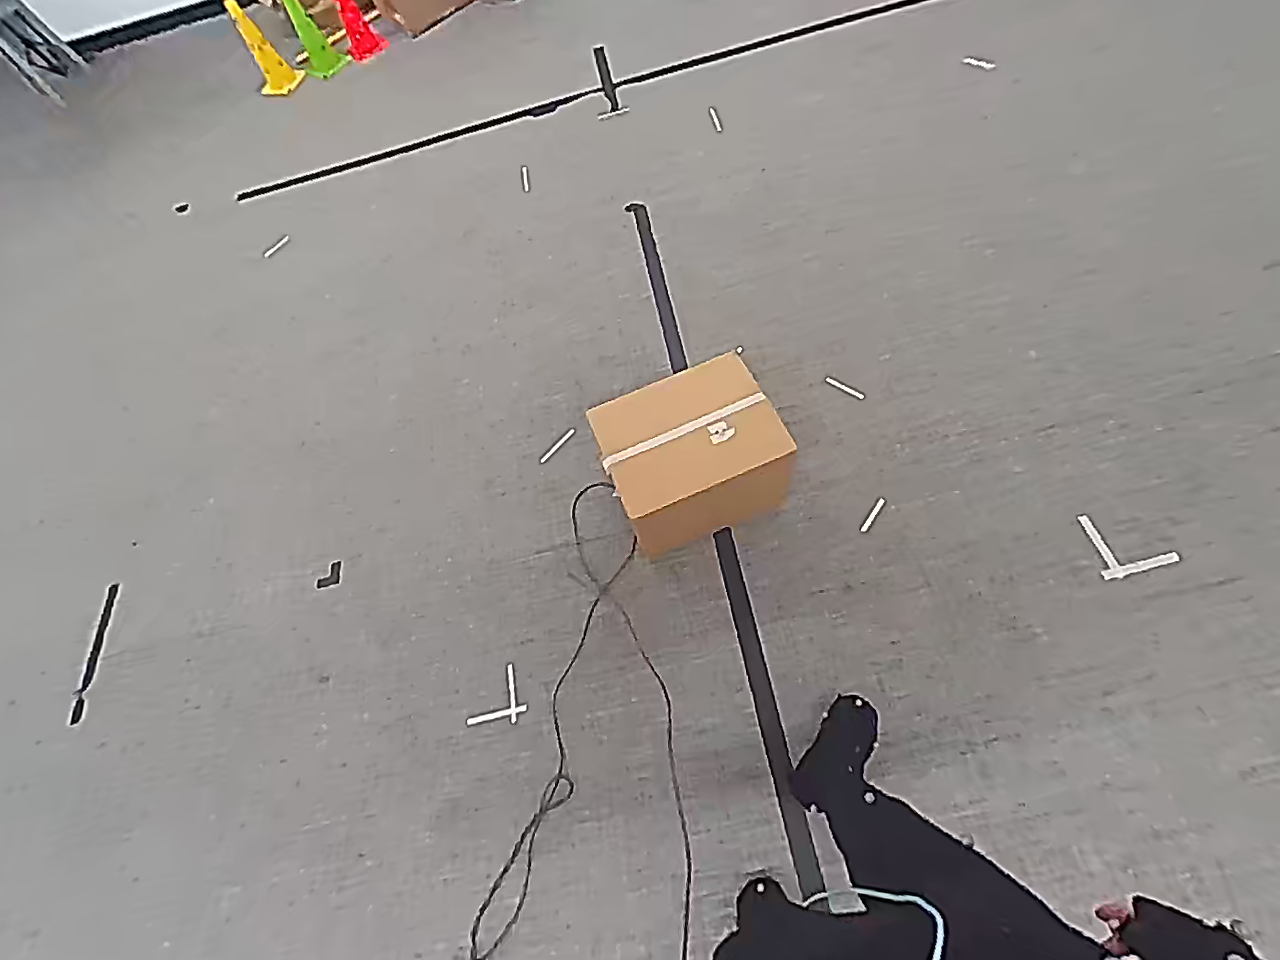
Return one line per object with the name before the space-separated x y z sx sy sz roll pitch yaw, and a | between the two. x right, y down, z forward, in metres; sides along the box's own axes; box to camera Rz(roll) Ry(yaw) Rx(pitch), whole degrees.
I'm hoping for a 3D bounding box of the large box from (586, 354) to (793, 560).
large box | 0.123 -0.046 1.384 0.408 0.320 0.320 -23 64 -3
